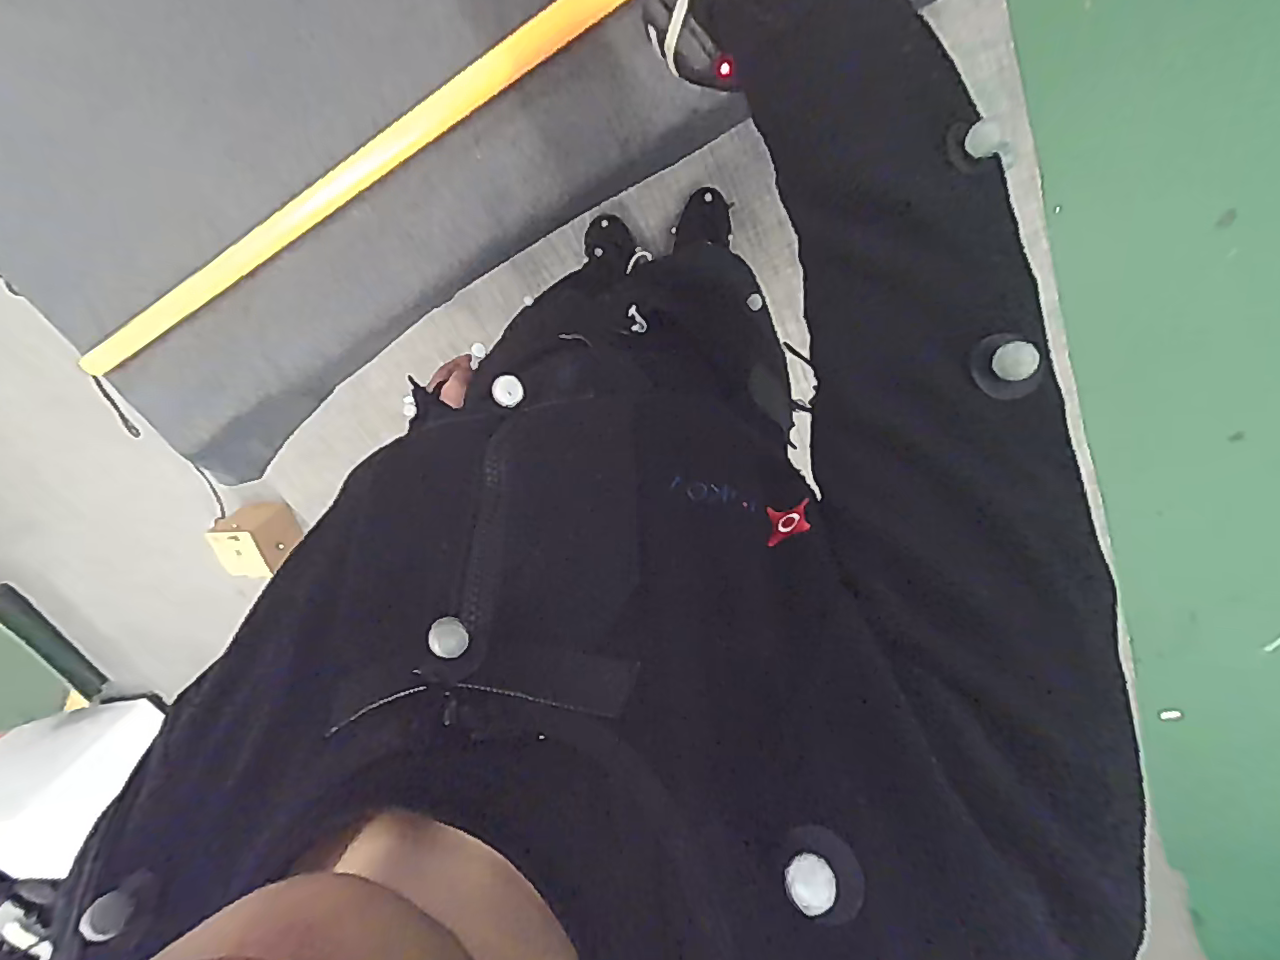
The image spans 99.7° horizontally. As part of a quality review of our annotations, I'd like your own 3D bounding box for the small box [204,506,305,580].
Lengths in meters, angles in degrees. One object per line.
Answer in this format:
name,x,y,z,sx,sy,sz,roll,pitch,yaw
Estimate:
small box,-1.233,0.201,1.746,0.168,0.176,0.179,-1,120,11
